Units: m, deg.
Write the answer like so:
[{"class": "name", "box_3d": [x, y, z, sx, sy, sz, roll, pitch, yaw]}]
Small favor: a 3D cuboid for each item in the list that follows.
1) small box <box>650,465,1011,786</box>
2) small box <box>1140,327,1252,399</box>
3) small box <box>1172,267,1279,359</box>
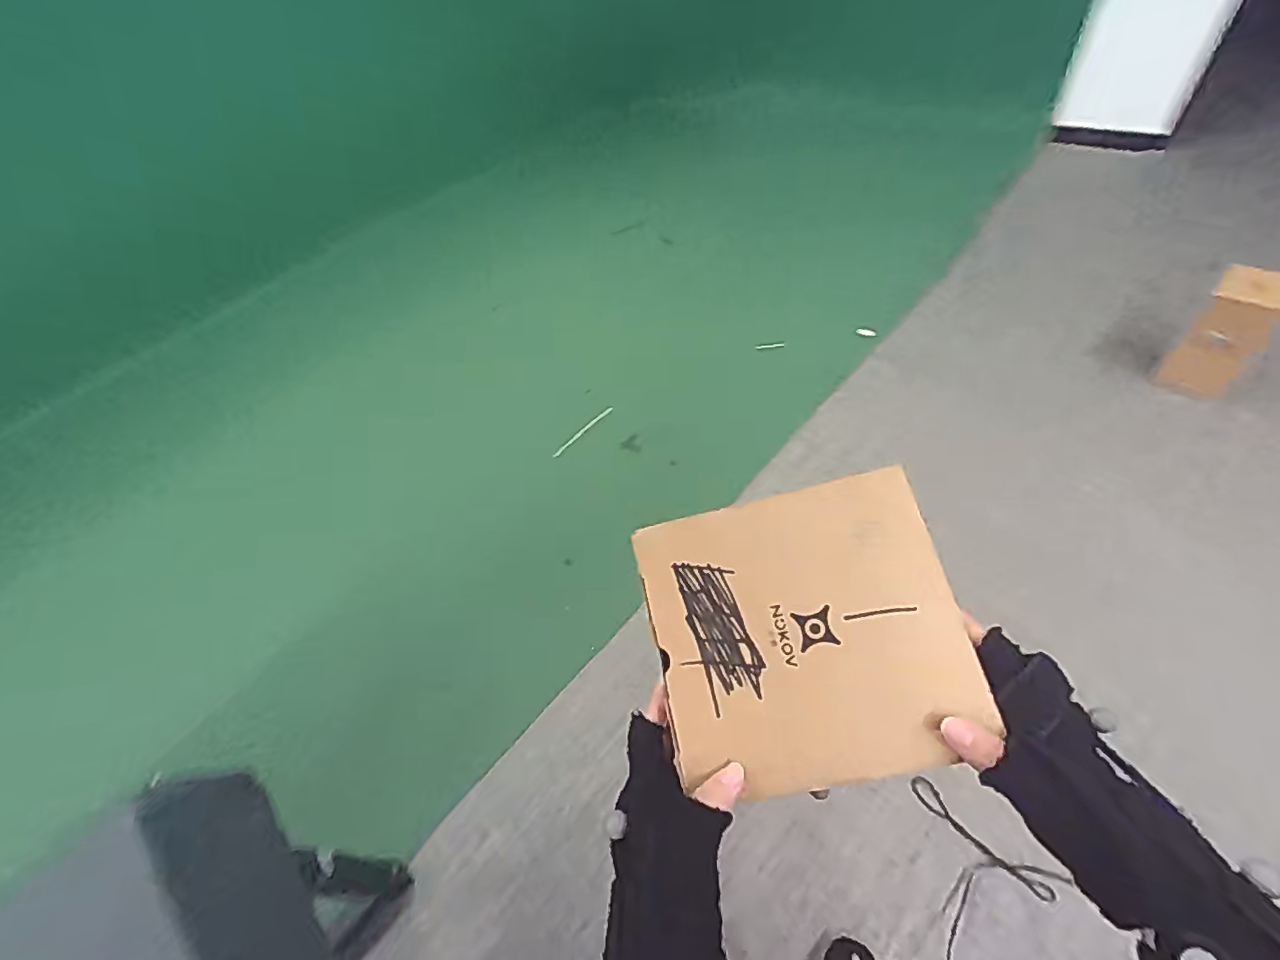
[{"class": "small box", "box_3d": [0.119, 0.108, 0.400, 0.179, 0.176, 0.168, -13, 70, 7]}, {"class": "small box", "box_3d": [1.740, -0.380, 1.695, 0.168, 0.176, 0.179, -40, 54, -20]}, {"class": "small box", "box_3d": [1.715, -0.486, 1.574, 0.179, 0.176, 0.168, -42, 53, -20]}]
